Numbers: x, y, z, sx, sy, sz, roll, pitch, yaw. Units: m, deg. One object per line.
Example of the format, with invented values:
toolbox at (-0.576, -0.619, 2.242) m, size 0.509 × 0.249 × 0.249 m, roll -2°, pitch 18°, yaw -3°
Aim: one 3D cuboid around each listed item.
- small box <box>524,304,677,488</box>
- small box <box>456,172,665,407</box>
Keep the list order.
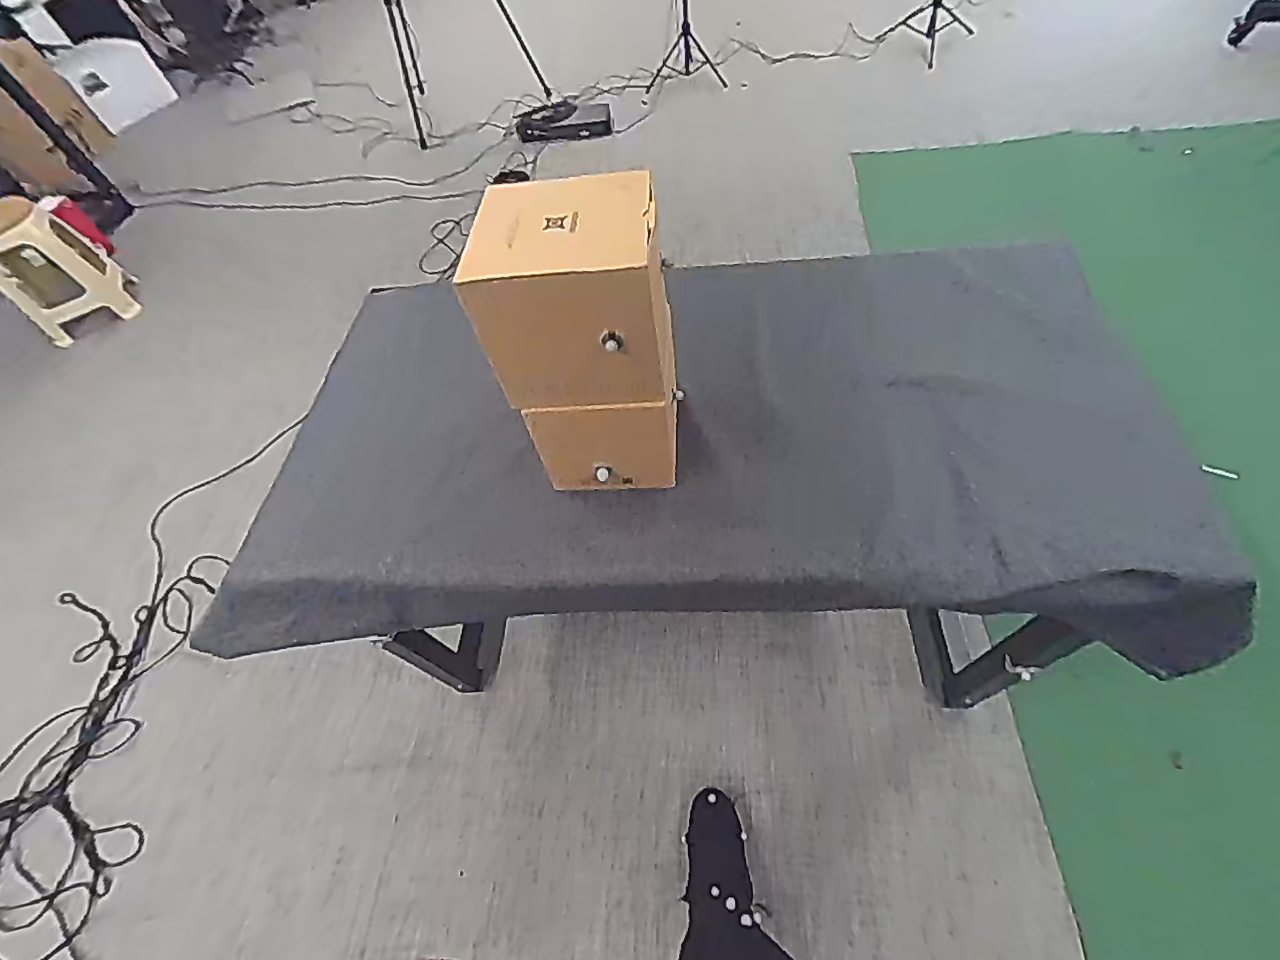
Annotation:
small box at (-0.040, -0.107, 0.713) m, size 0.168 × 0.176 × 0.179 m, roll -1°, pitch 57°, yaw 7°
small box at (-0.065, -0.195, 0.579) m, size 0.179 × 0.176 × 0.168 m, roll -3°, pitch 55°, yaw 7°
